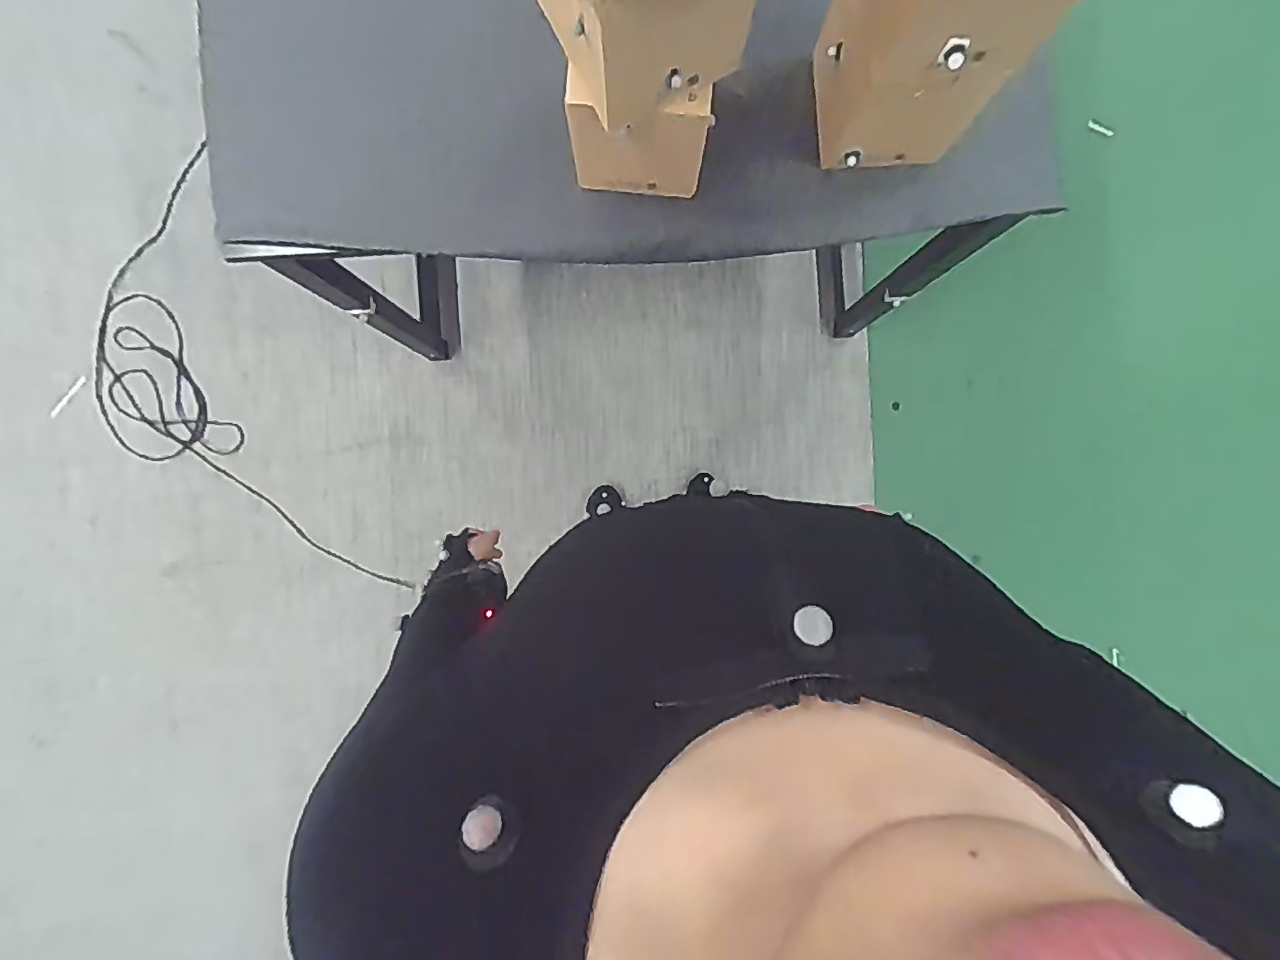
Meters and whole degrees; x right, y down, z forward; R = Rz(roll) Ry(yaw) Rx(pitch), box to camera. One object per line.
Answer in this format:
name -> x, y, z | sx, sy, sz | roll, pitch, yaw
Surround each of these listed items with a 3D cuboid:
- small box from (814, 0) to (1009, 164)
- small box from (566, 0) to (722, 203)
small box -> 0.332, -0.530, 0.688 | 0.168, 0.176, 0.179 | -3, 86, 0
small box -> 0.005, -0.489, 0.688 | 0.168, 0.176, 0.179 | 5, 87, 0
